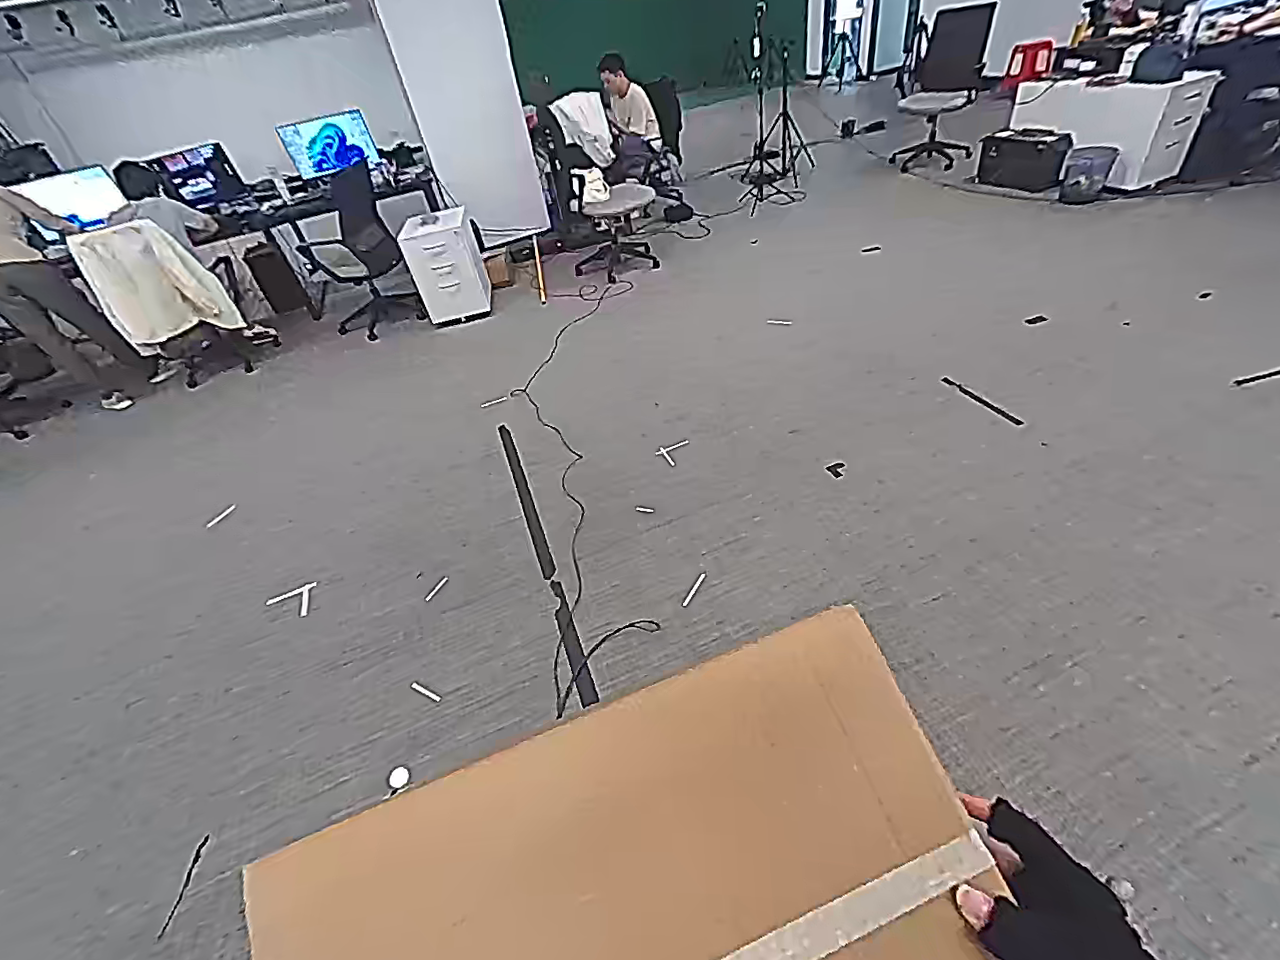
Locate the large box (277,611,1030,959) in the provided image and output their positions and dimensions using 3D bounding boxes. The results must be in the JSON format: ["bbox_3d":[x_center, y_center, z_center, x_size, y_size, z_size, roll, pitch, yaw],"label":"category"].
[{"bbox_3d":[0.017,0.349,0.442,0.408,0.320,0.320,-21,71,-8],"label":"large box"}]
